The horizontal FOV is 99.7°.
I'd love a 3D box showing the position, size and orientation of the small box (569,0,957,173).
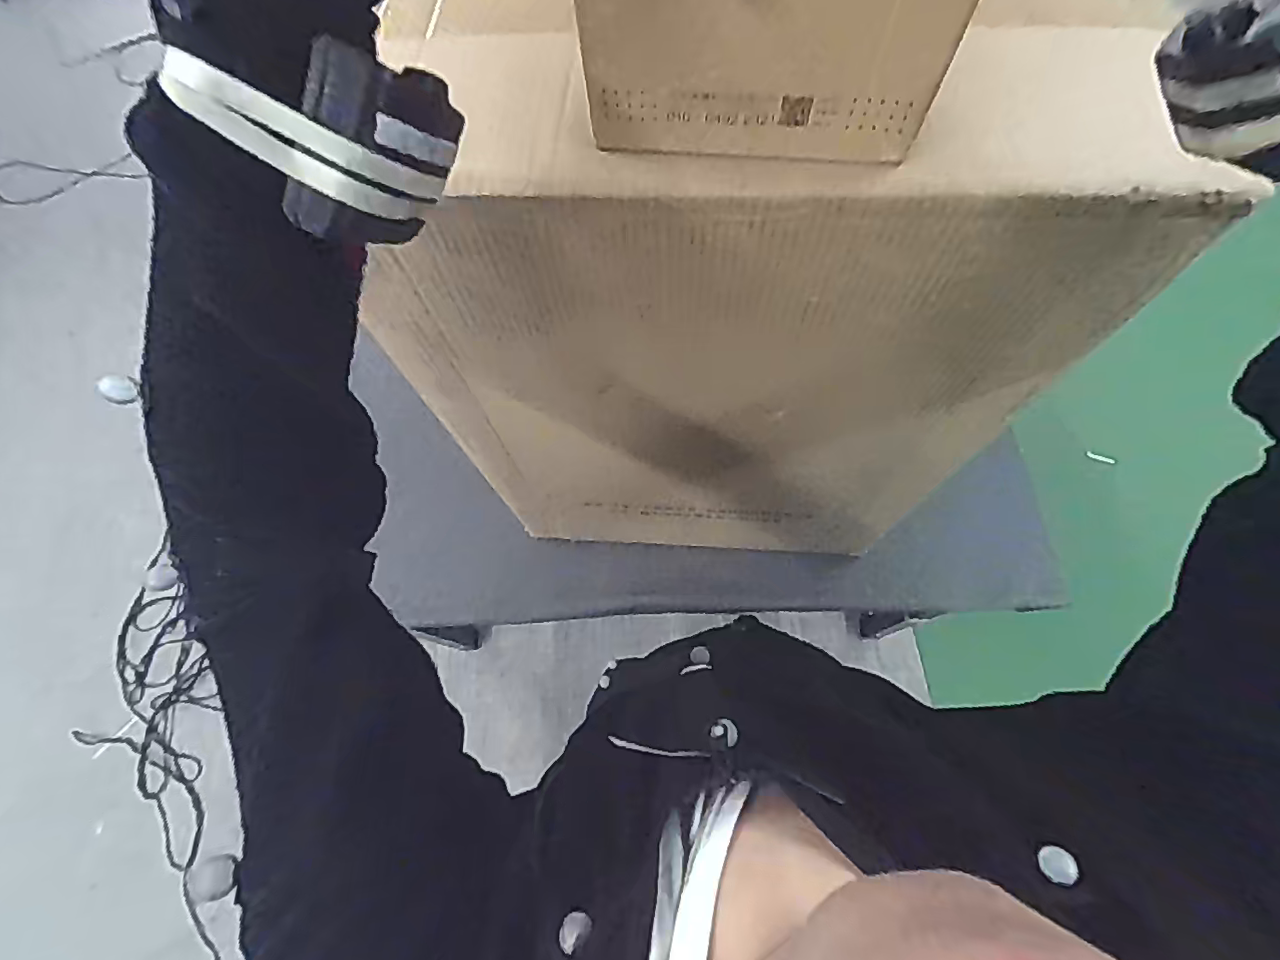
[{"bbox_3d":[0.060,-0.273,0.248,0.168,0.176,0.179,7,68,6],"label":"small box"}]
